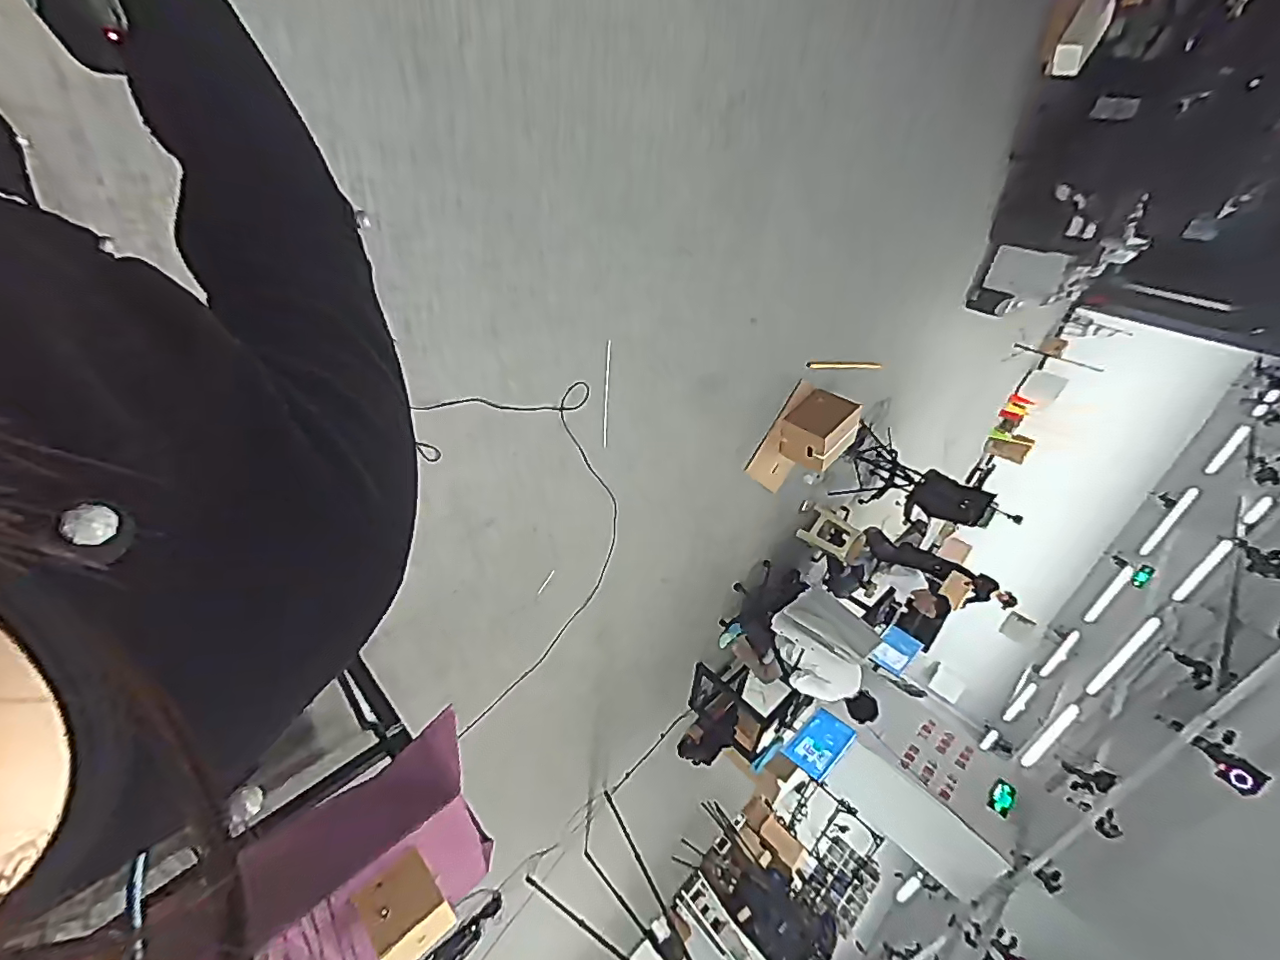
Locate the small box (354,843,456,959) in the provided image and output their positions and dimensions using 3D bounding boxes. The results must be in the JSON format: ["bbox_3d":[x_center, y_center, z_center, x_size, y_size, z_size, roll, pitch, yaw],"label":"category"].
[{"bbox_3d":[-0.598,1.073,1.376,0.168,0.176,0.179,-29,139,-34],"label":"small box"}]
